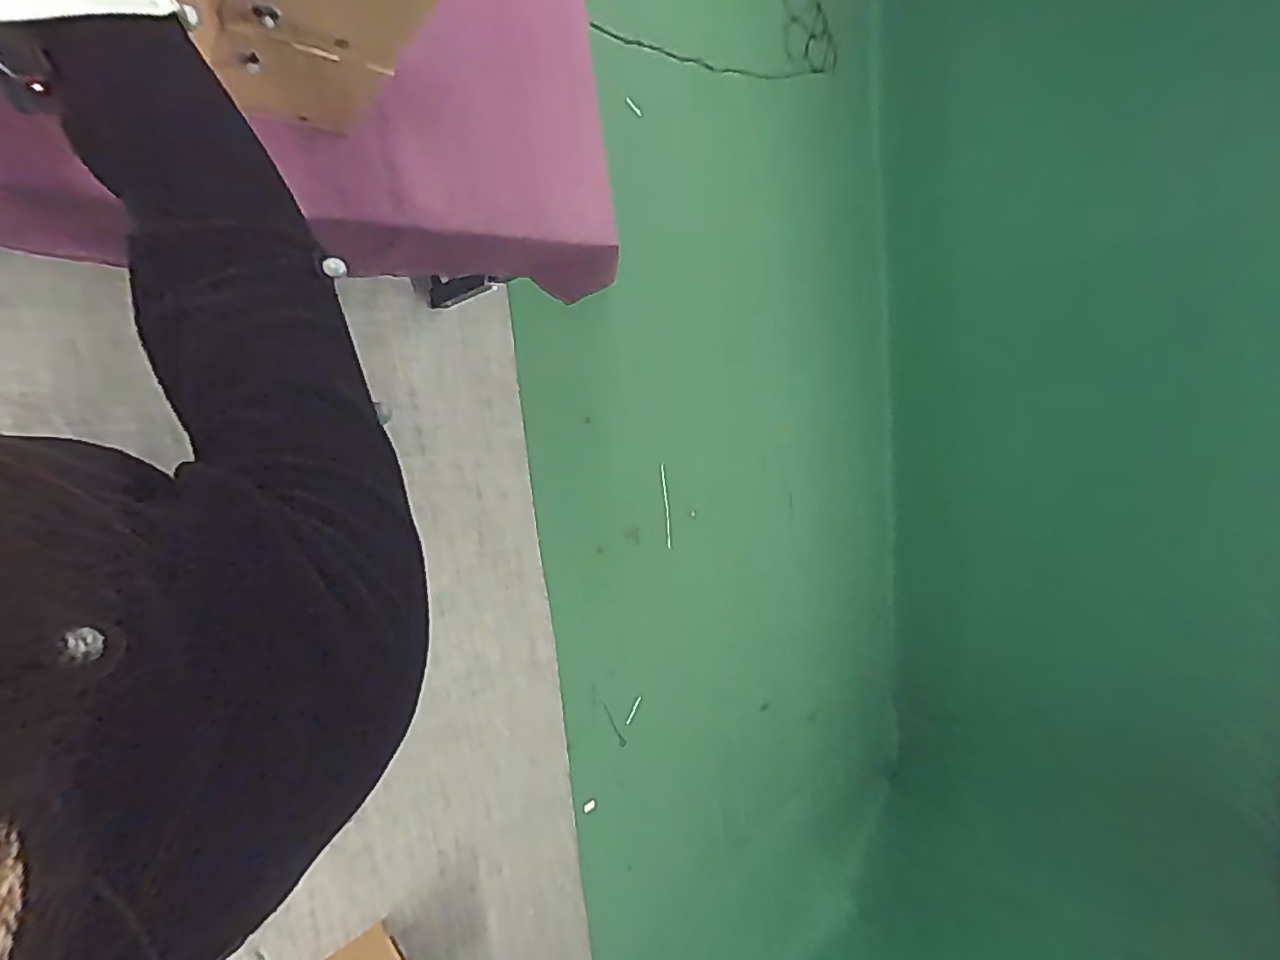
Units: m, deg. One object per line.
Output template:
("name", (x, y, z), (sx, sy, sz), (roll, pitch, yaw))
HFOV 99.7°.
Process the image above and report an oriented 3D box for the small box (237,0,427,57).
("small box", (-0.294, -0.537, 0.491), (0.168, 0.176, 0.179), (-19, 103, -43))
